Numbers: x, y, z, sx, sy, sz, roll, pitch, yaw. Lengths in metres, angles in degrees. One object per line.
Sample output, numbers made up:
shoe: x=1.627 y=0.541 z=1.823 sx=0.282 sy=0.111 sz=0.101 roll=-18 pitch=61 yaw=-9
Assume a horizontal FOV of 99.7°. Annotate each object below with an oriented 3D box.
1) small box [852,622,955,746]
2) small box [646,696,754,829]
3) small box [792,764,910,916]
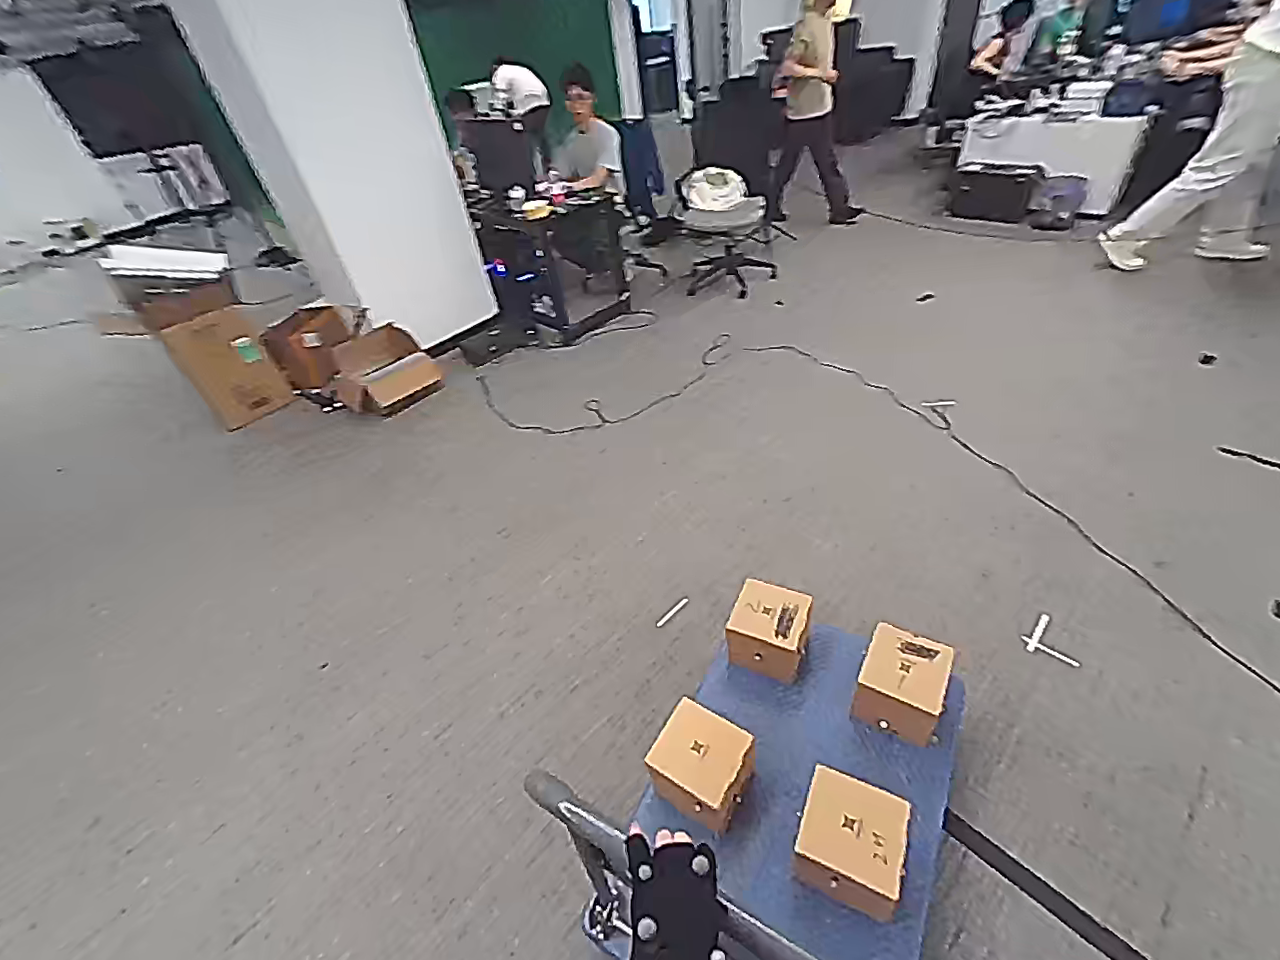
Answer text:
small box: x=0.601 y=0.469 z=1.247 sx=0.168 sy=0.176 sz=0.179 roll=18 pitch=50 yaw=29
small box: x=0.134 y=0.618 z=1.179 sx=0.179 sy=0.176 sz=0.168 roll=20 pitch=49 yaw=29
small box: x=0.399 y=0.691 z=1.037 sx=0.179 sy=0.176 sz=0.168 roll=14 pitch=46 yaw=26
